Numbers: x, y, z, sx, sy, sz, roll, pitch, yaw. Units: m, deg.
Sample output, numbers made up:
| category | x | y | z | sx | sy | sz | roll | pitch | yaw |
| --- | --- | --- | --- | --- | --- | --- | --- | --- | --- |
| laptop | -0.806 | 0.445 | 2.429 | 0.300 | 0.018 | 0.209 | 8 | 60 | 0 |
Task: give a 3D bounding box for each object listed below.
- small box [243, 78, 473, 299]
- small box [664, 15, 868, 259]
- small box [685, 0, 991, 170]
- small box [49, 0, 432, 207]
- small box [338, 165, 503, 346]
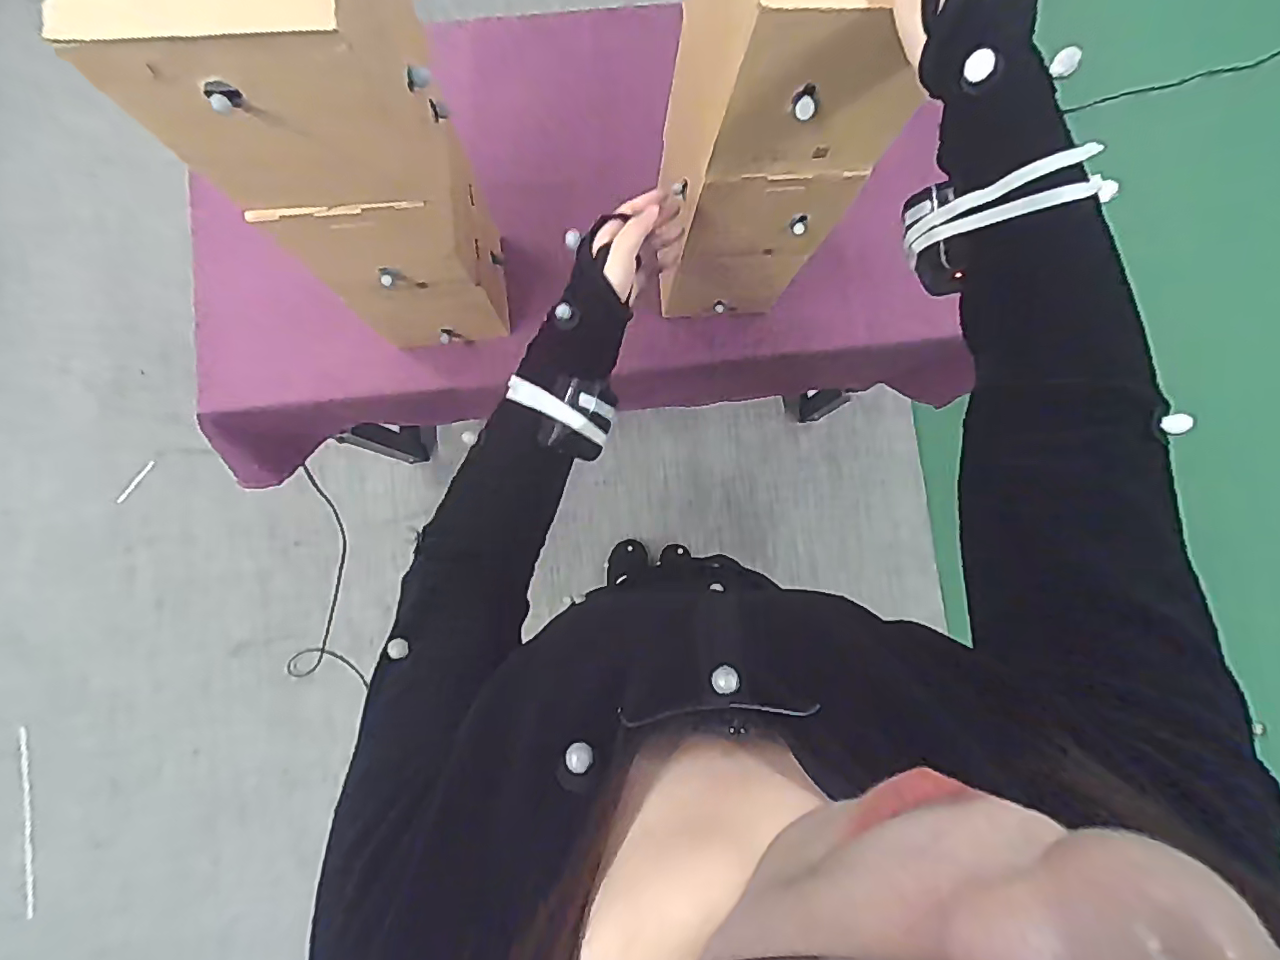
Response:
| category | x | y | z | sx | sy | sz | roll | pitch | yaw |
| --- | --- | --- | --- | --- | --- | --- | --- | --- | --- |
| small box | -0.289 | -0.318 | 0.582 | 0.168 | 0.176 | 0.179 | -6 | 84 | -2 |
| small box | 0.123 | -0.361 | 0.595 | 0.168 | 0.176 | 0.179 | -6 | 85 | -5 |
| small box | 0.136 | -0.377 | 0.434 | 0.168 | 0.176 | 0.179 | -6 | 85 | -6 |
| small box | -0.279 | -0.336 | 0.419 | 0.179 | 0.176 | 0.168 | -5 | 84 | -3 |
| small box | -0.293 | -0.297 | 0.746 | 0.179 | 0.176 | 0.168 | -8 | 84 | -3 |
